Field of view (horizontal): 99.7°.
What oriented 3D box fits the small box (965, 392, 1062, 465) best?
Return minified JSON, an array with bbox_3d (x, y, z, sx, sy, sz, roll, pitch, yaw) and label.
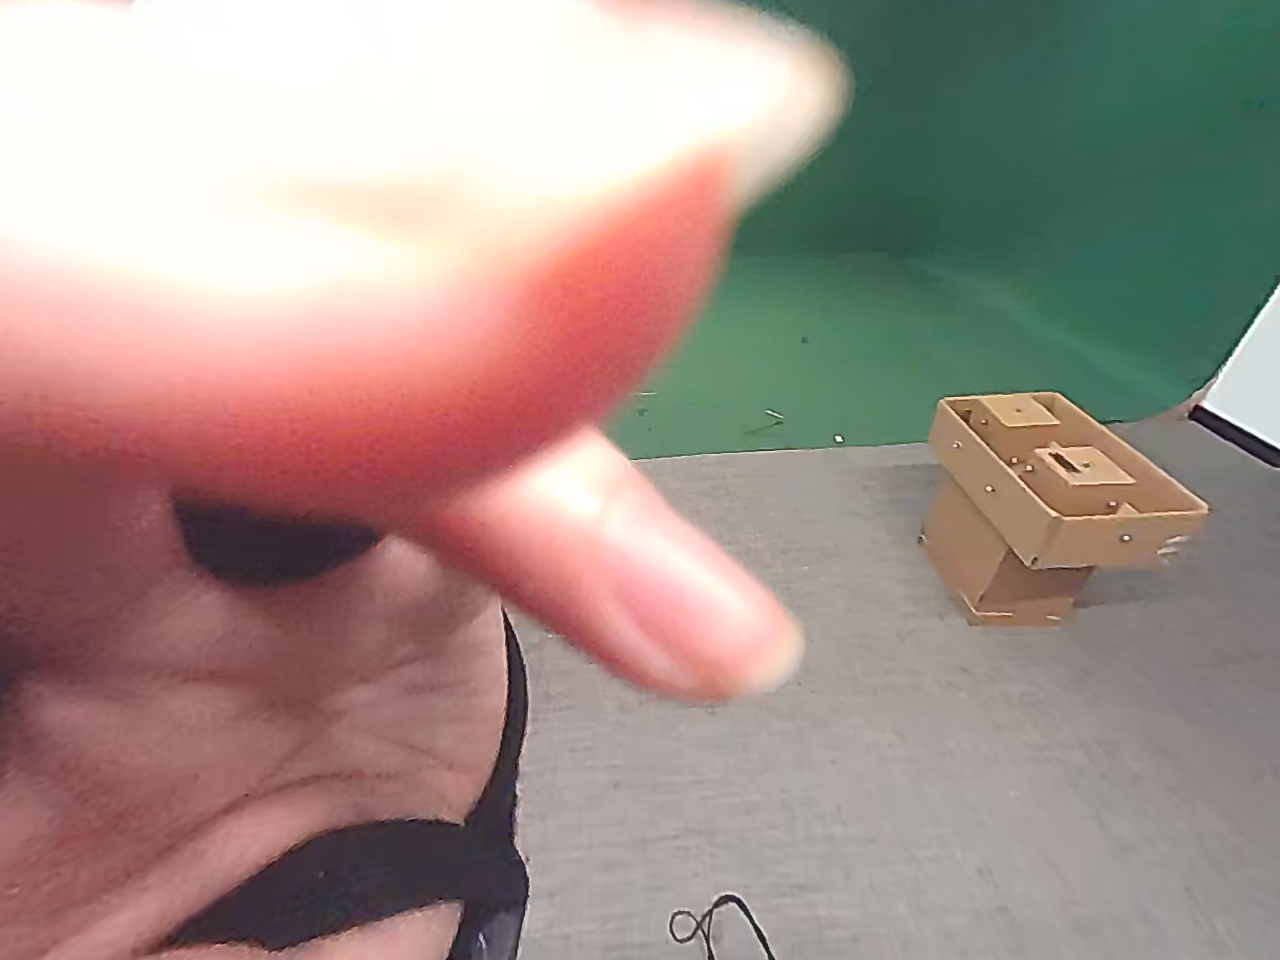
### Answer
[{"bbox_3d":[1.178,-0.164,1.725,0.168,0.176,0.179,-3,39,1],"label":"small box"}]
